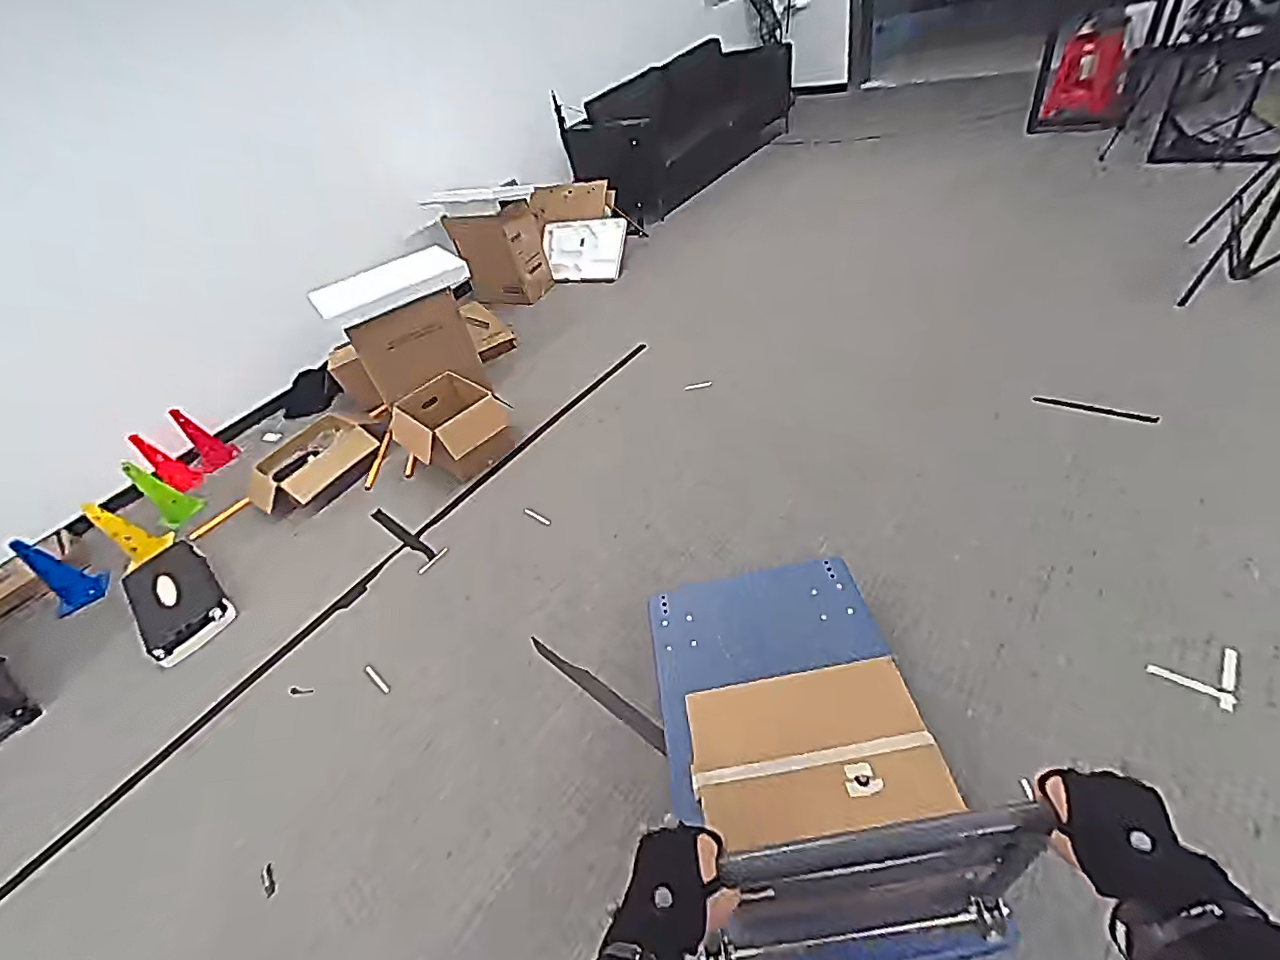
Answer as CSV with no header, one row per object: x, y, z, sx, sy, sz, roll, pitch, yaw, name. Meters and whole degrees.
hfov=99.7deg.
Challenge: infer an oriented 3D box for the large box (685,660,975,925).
0.323,0.594,1.026,0.408,0.320,0.320,-12,43,3,large box
